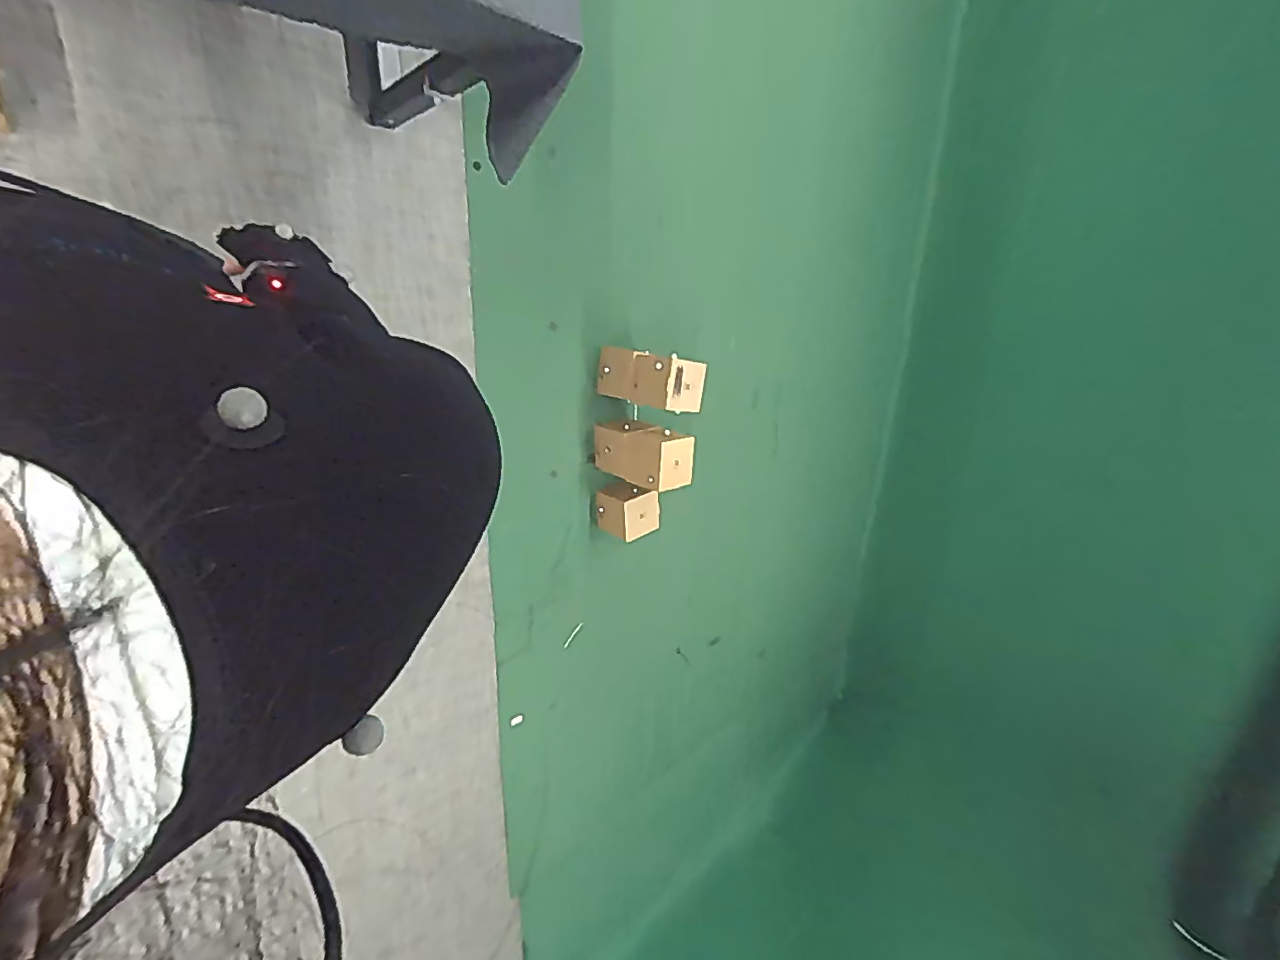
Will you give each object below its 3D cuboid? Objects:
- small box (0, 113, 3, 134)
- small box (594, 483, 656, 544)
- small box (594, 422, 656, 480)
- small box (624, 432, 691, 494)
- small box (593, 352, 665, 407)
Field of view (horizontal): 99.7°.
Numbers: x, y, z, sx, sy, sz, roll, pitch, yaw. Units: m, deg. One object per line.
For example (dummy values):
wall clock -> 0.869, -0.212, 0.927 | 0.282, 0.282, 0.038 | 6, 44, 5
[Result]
small box -> -1.064, -0.624, 0.776 | 0.168, 0.176, 0.179 | -10, 111, -43
small box -> -0.056, 0.121, 2.077 | 0.179, 0.176, 0.168 | -21, 118, -40
small box -> -0.058, -0.112, 1.993 | 0.179, 0.176, 0.168 | -18, 116, -42
small box -> 0.059, -0.068, 1.888 | 0.168, 0.176, 0.179 | -14, 114, -42
small box -> -0.039, -0.361, 1.926 | 0.179, 0.176, 0.168 | -1, 103, -44
